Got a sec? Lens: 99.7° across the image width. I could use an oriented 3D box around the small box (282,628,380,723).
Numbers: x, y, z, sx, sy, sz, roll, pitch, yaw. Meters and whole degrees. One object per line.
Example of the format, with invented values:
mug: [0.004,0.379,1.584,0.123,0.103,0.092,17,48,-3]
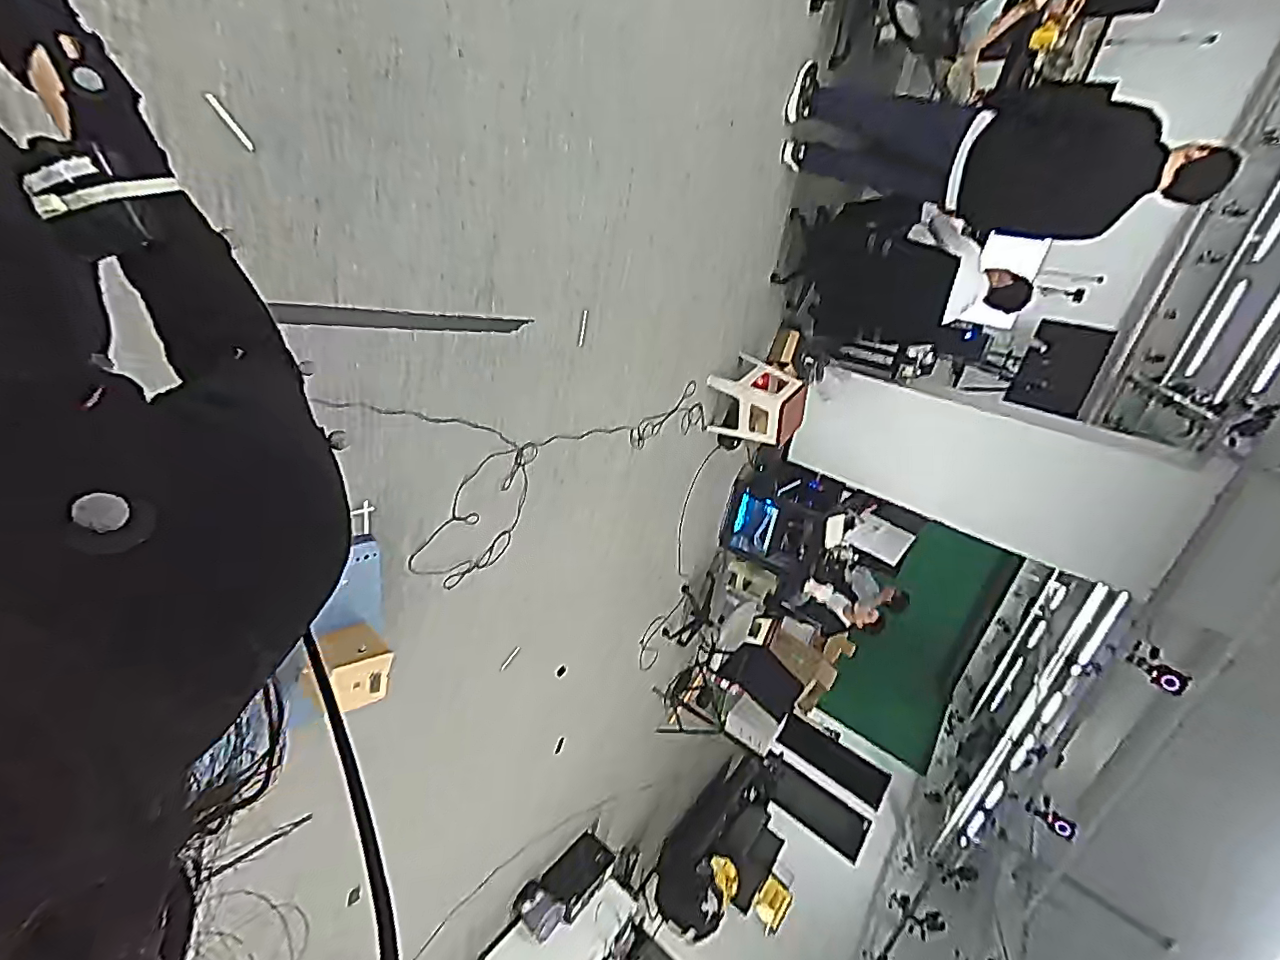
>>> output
small box: [-0.884,0.546,1.543,0.179,0.176,0.168,-2,114,-55]
